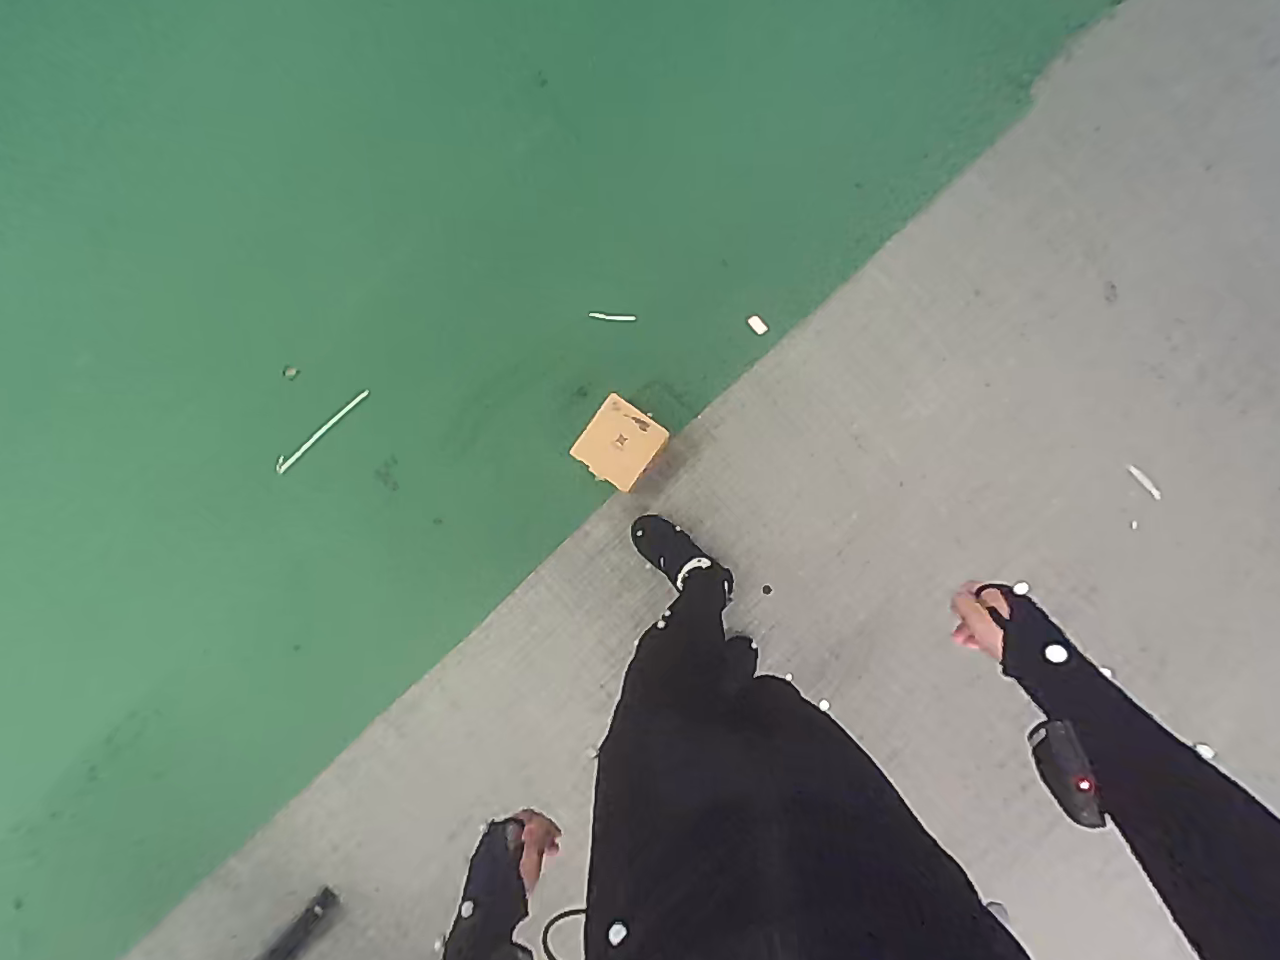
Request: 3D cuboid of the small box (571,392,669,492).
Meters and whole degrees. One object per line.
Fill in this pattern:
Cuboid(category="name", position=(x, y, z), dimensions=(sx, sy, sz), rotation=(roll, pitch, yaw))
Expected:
Cuboid(category="small box", position=(-0.040, -0.084, 1.317), dimensions=(0.168, 0.176, 0.179), rotation=(36, 90, 3))
